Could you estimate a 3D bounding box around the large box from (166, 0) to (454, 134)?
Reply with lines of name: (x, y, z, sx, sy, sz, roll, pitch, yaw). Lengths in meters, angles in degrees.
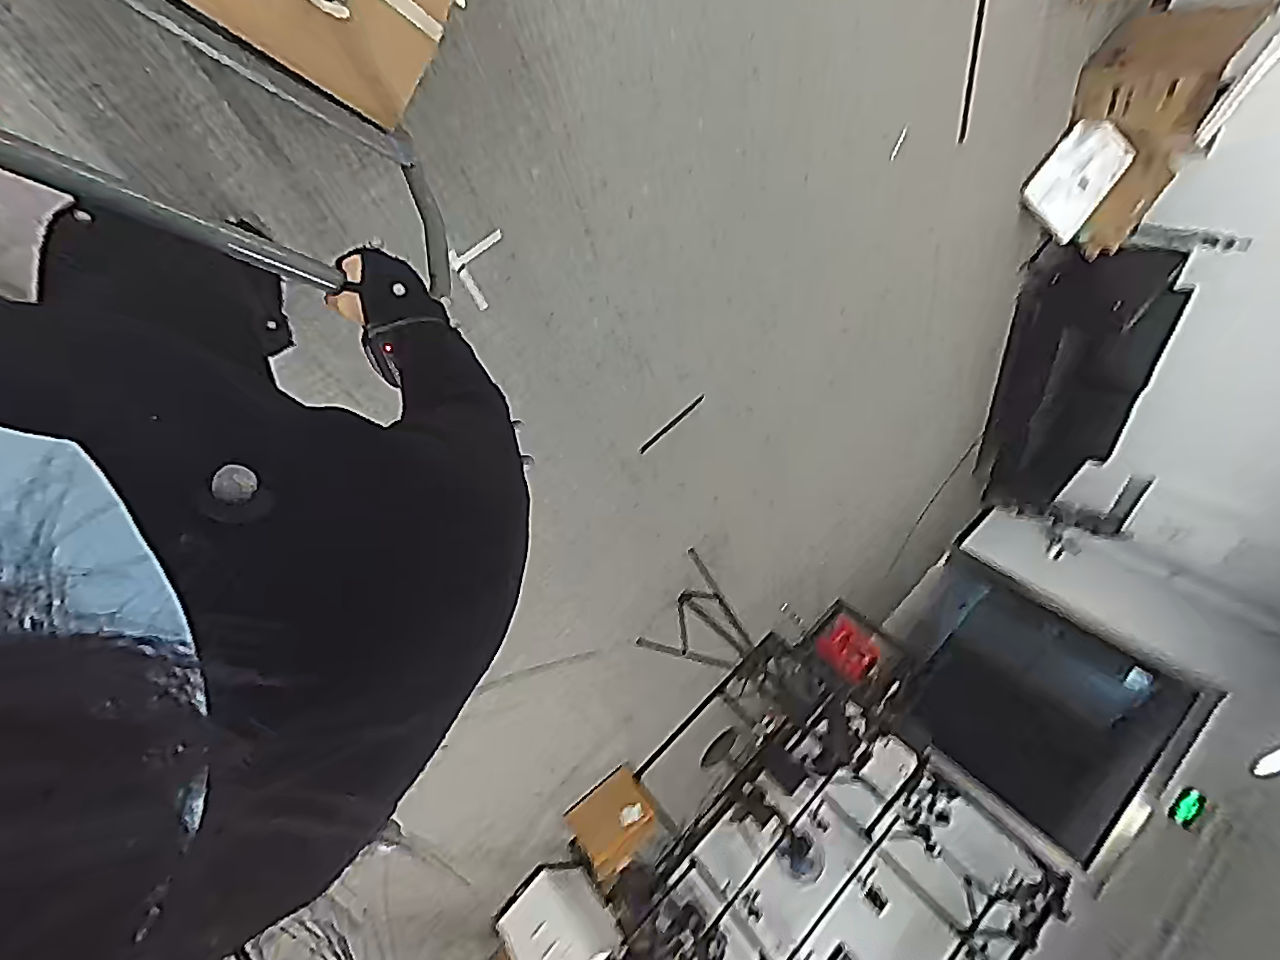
large box: (-0.490, -0.767, 0.699, 0.320, 0.320, 0.408, -46, 147, 24)
